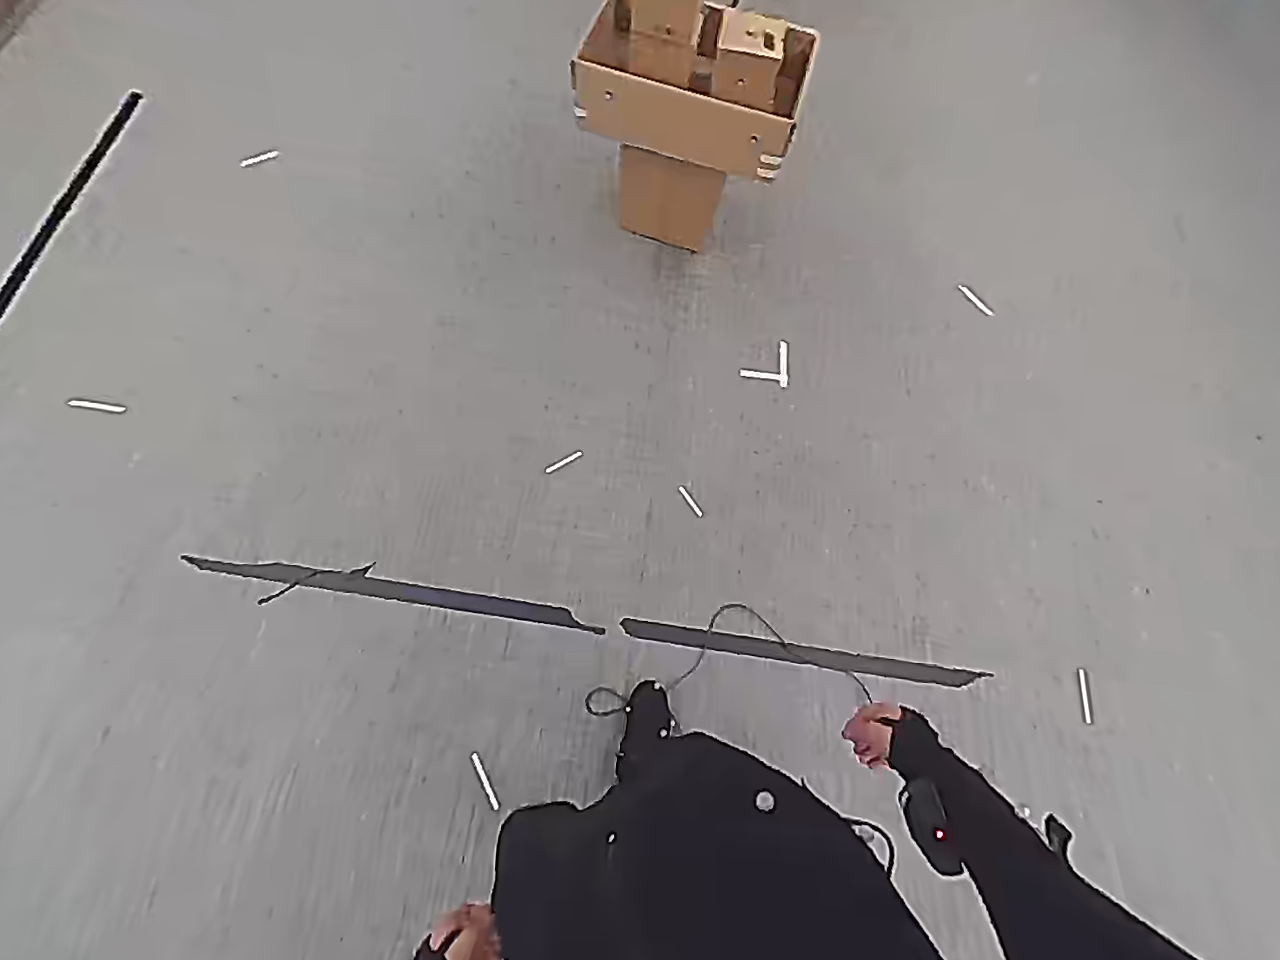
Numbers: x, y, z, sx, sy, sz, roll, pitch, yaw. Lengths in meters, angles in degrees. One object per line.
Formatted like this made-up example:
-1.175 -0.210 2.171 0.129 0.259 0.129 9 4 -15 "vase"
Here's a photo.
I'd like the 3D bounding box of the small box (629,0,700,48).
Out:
0.071 -1.256 1.373 0.168 0.176 0.179 14 69 -1 "small box"
